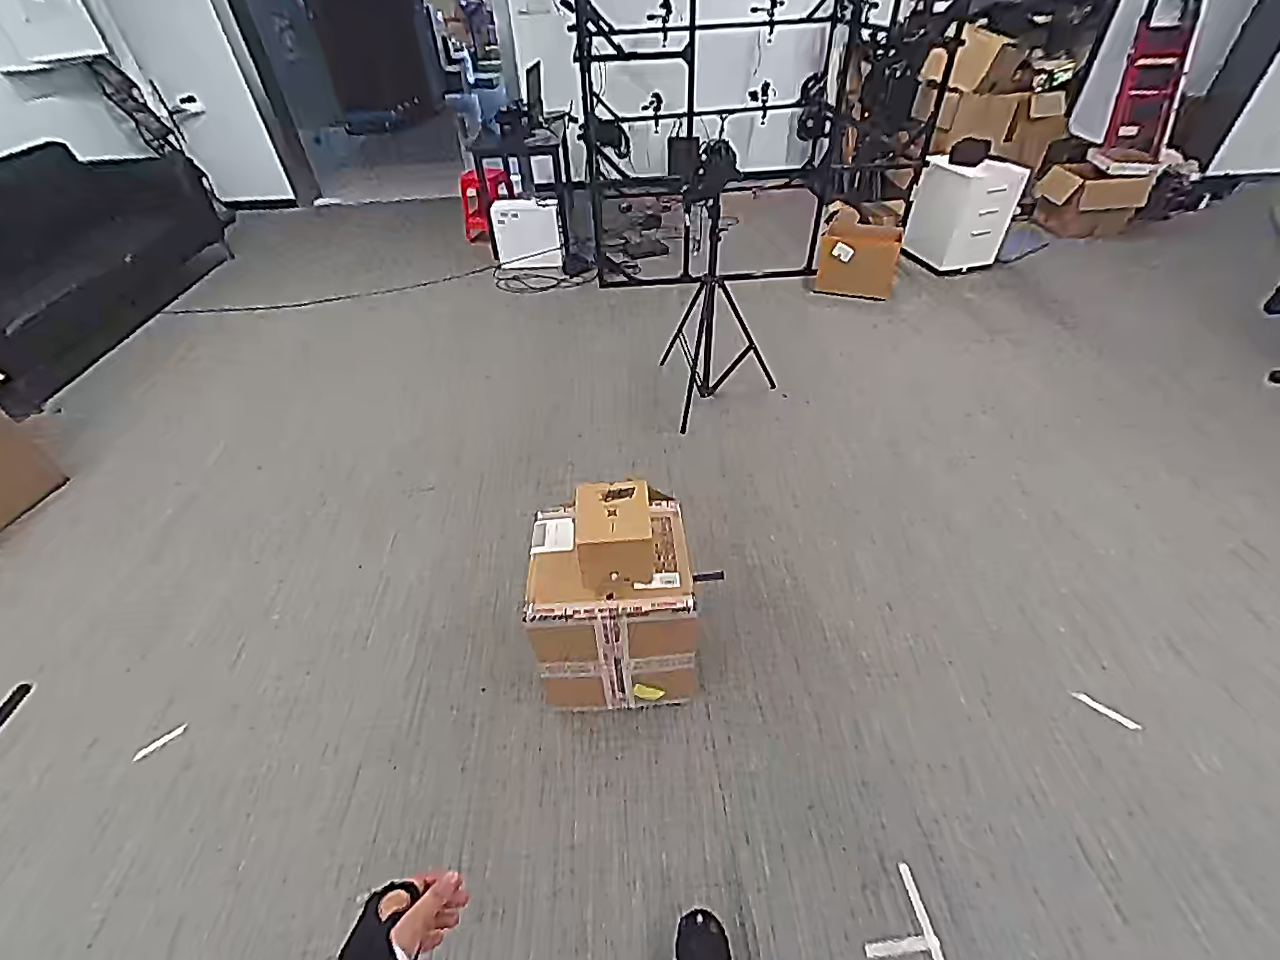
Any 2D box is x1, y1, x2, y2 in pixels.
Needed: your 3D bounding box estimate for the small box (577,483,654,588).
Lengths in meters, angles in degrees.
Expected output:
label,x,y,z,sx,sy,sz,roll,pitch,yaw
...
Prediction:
label,x,y,z,sx,sy,sz,roll,pitch,yaw
small box,-0.055,0.128,1.256,0.168,0.176,0.179,-4,46,-1
